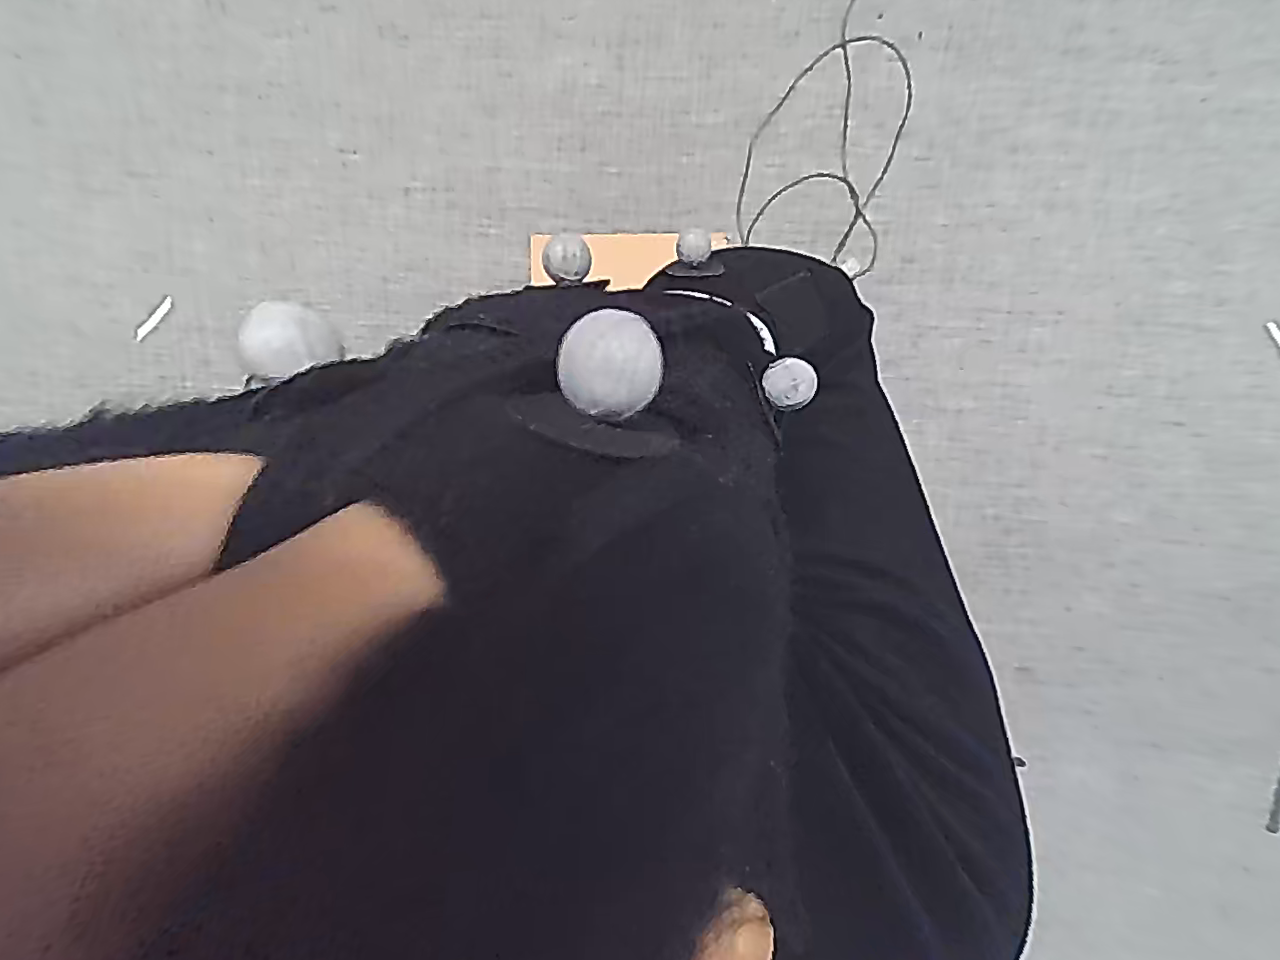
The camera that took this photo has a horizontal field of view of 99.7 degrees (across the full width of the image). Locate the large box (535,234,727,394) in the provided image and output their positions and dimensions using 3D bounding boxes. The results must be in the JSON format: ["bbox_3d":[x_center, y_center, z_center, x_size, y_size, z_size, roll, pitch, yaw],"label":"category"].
[{"bbox_3d":[-0.015,-0.370,1.278,0.408,0.320,0.320,1,98,2],"label":"large box"}]
